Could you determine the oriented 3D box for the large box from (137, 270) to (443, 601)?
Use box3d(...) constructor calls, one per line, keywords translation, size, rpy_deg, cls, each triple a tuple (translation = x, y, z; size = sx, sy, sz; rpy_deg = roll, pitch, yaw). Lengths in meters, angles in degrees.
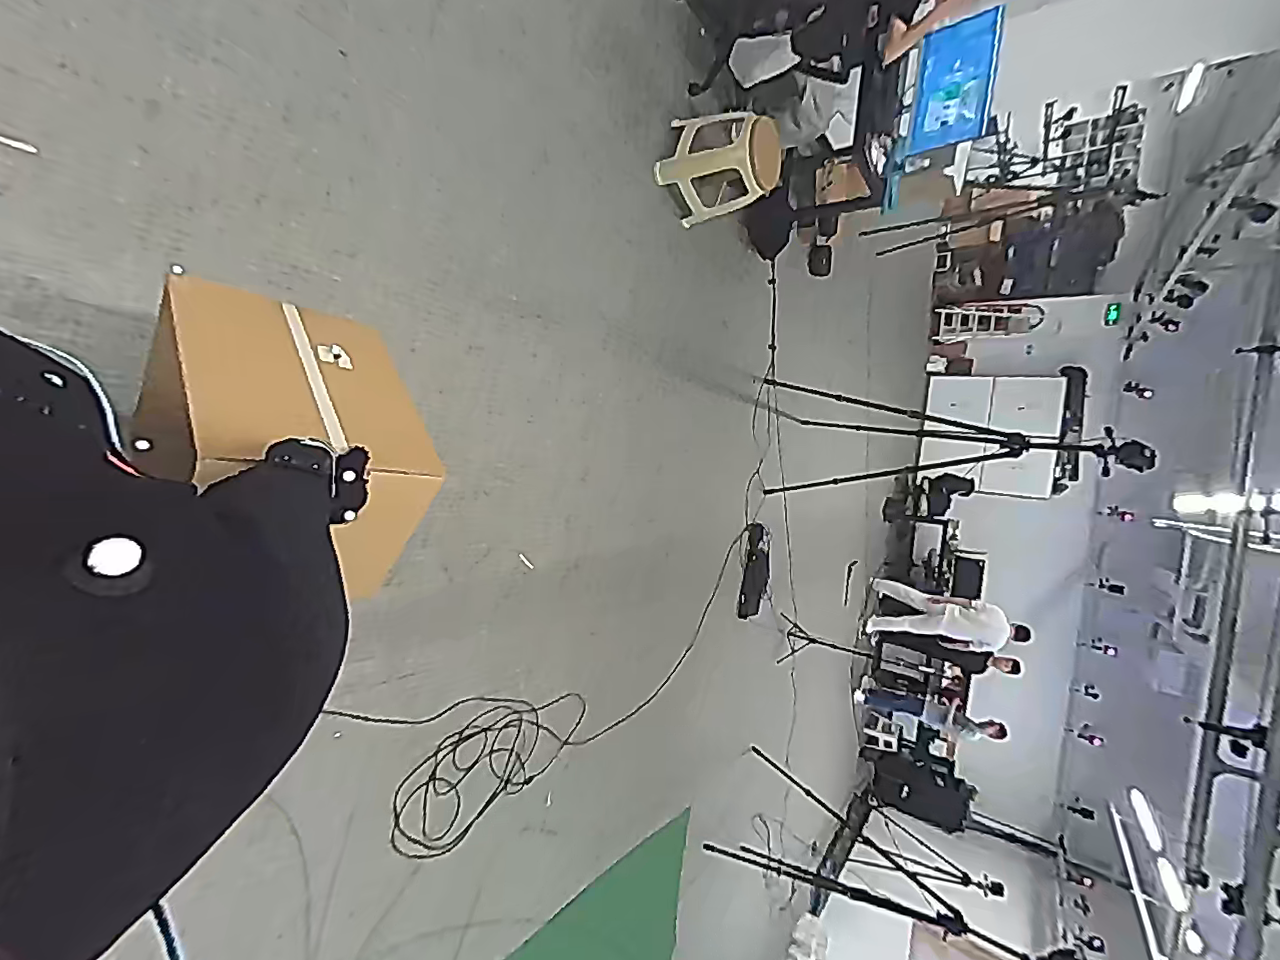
box3d(translation=(-0.595, -0.064, 0.900), size=(0.320, 0.408, 0.320), rpy_deg=(7, 130, -51), cls="large box")
